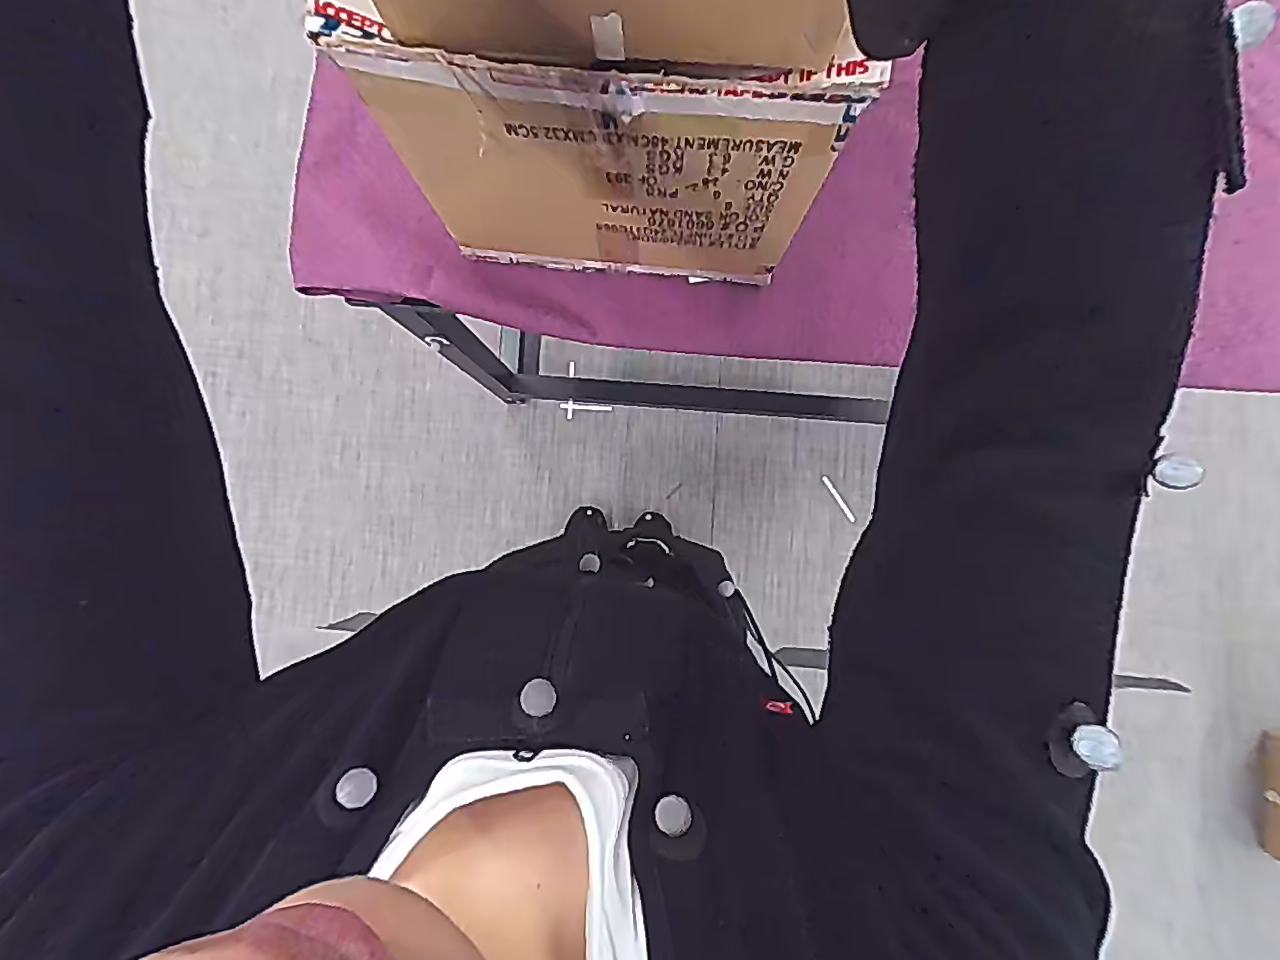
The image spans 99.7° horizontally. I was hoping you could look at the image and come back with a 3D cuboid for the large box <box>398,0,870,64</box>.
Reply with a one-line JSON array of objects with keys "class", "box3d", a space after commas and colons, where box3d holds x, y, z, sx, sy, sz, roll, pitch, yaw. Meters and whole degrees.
[{"class": "large box", "box3d": [0.001, -0.500, 0.237, 0.320, 0.320, 0.408, 4, 88, 3]}]
